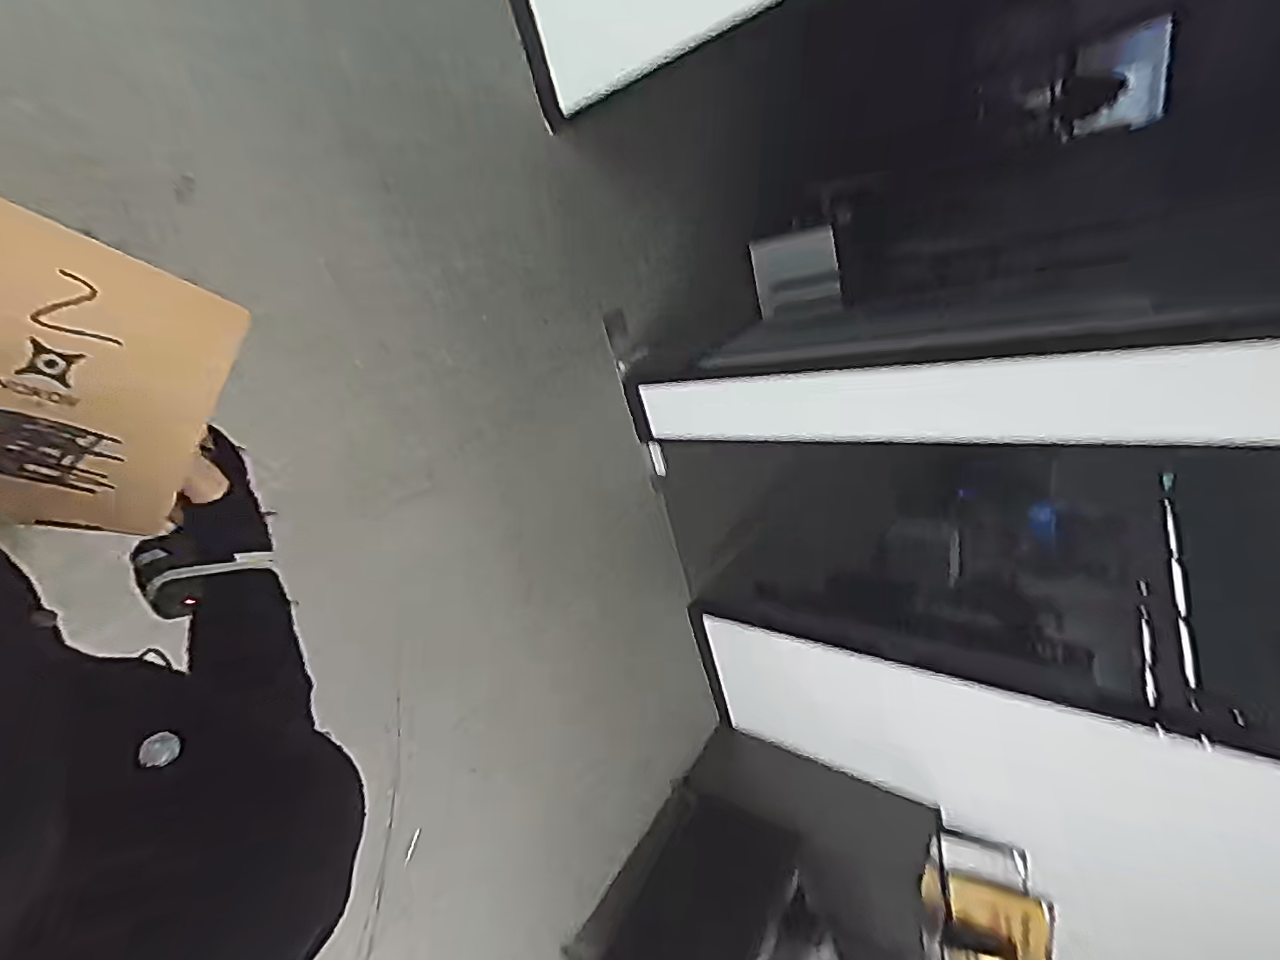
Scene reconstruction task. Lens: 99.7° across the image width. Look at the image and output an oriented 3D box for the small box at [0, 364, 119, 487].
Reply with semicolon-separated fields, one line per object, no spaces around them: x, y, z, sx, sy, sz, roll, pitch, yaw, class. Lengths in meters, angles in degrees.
-1.089;-0.099;0.955;0.179;0.176;0.168;-37;121;-43;small box
